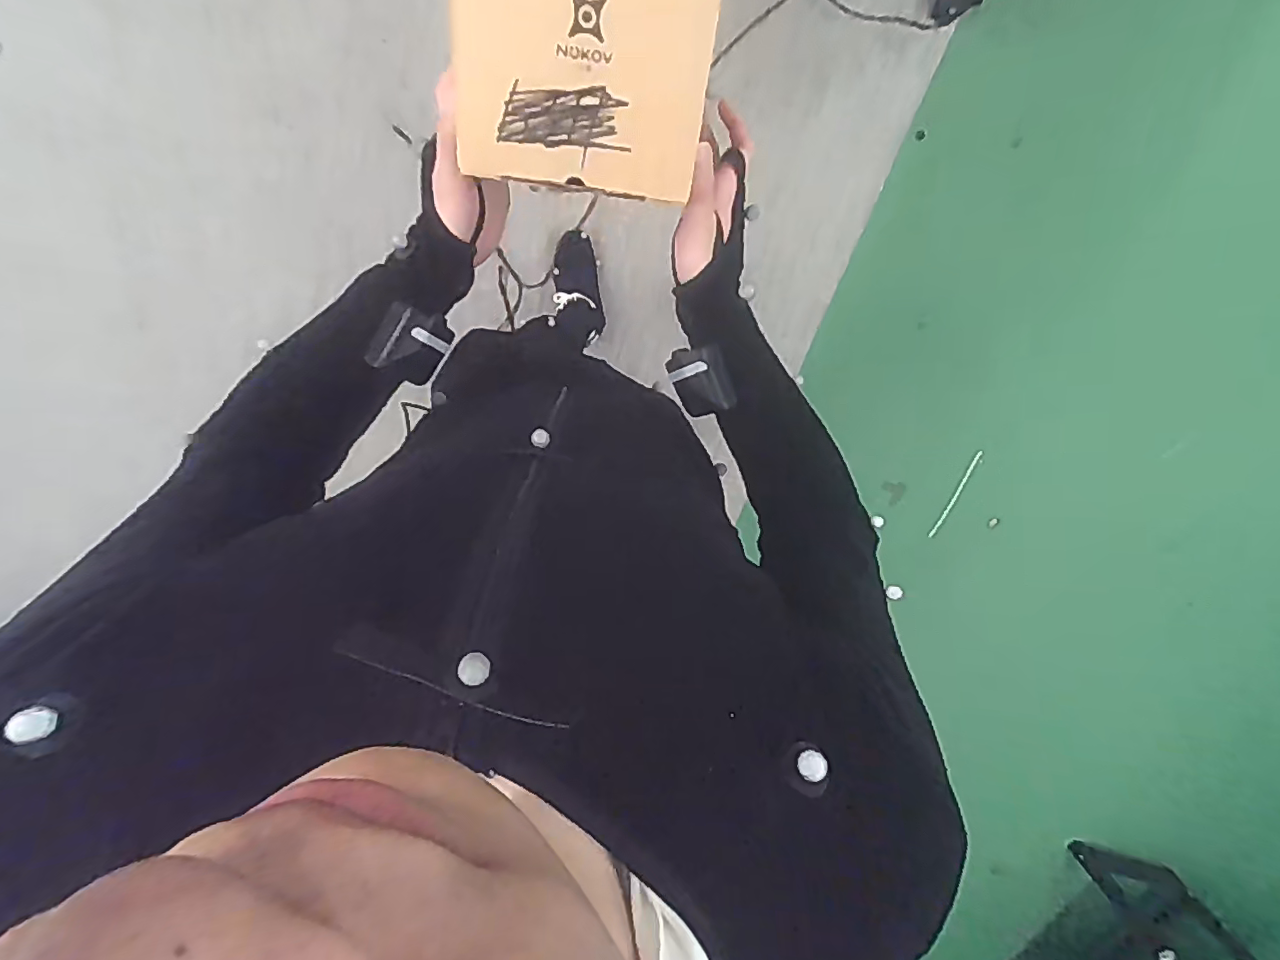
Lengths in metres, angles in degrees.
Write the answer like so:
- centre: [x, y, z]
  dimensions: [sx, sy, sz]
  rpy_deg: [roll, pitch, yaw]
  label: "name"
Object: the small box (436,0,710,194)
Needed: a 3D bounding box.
- centre: [-0.040, -0.322, 0.394]
  dimensions: [0.168, 0.176, 0.179]
  rpy_deg: [6, 120, -4]
  label: "small box"
